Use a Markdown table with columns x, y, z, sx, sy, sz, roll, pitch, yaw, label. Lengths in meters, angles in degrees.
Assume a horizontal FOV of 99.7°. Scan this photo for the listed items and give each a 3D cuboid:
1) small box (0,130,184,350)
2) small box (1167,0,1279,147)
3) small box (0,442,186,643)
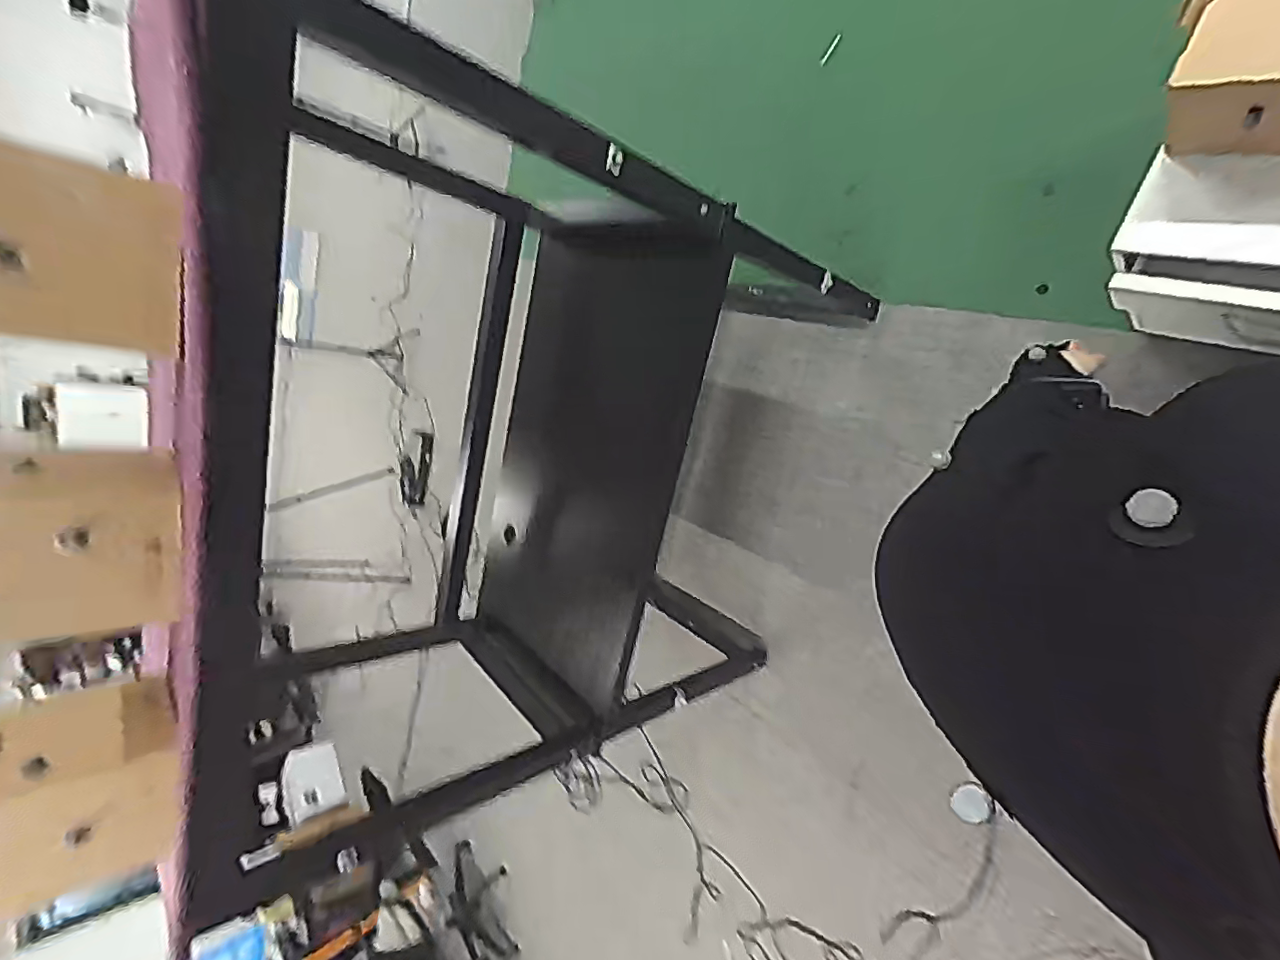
| x | y | z | sx | sy | sz | roll | pitch | yaw | label |
| --- | --- | --- | --- | --- | --- | --- | --- | --- | --- |
| -0.582 | -0.240 | 0.555 | 0.168 | 0.176 | 0.179 | 26 | 109 | 44 | small box |
| 0.669 | -0.448 | 0.529 | 0.179 | 0.176 | 0.168 | 30 | 111 | 40 | small box |
| -0.643 | 0.059 | 0.625 | 0.179 | 0.176 | 0.168 | 28 | 109 | 42 | small box |
